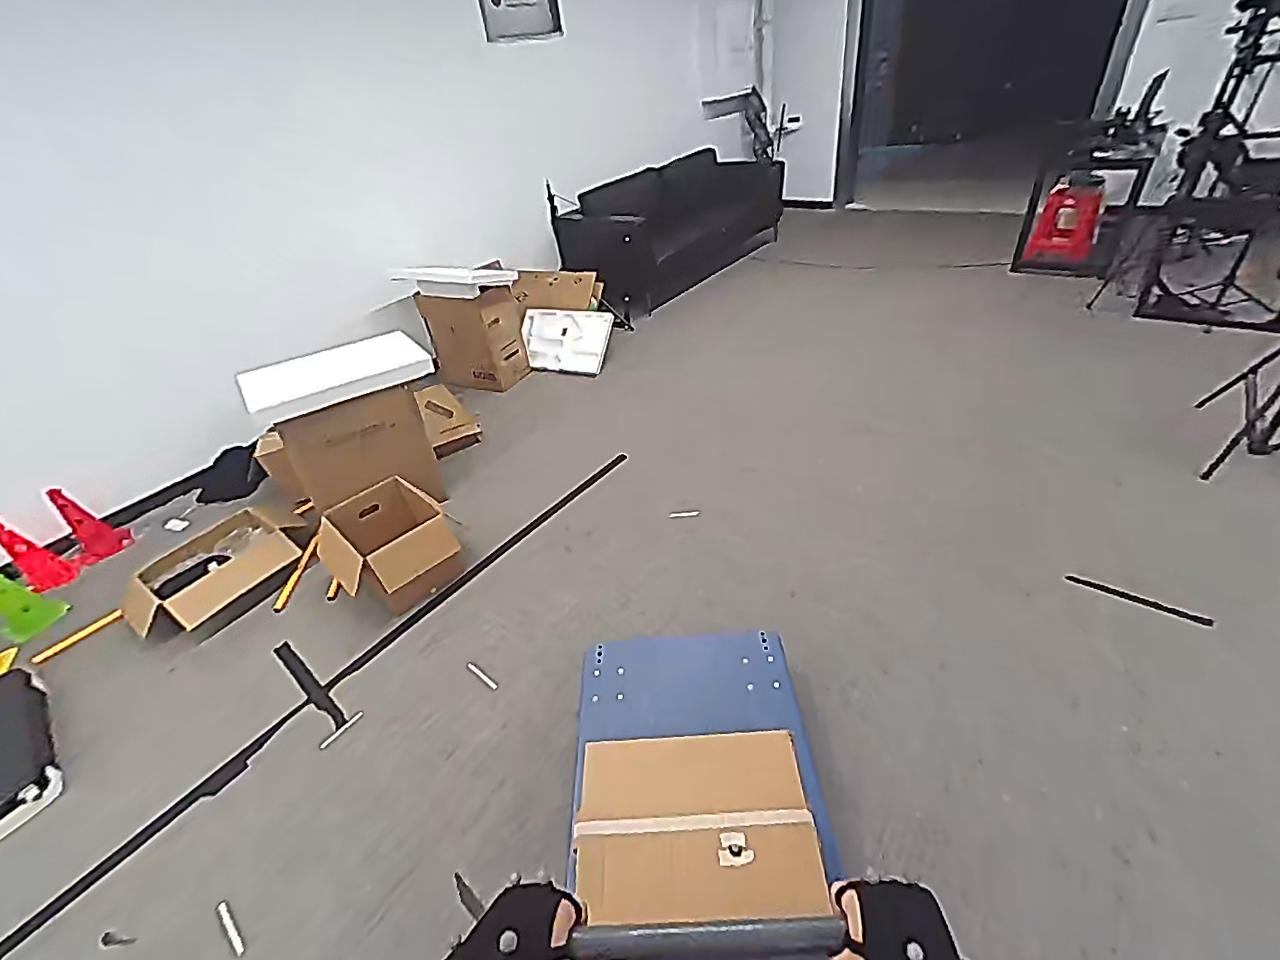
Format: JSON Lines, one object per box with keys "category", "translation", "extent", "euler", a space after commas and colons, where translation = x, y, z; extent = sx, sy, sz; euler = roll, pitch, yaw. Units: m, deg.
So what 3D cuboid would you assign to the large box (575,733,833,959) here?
{"category": "large box", "translation": [0.105, 0.721, 1.026], "extent": [0.408, 0.320, 0.320], "euler": [-5, 37, 3]}
